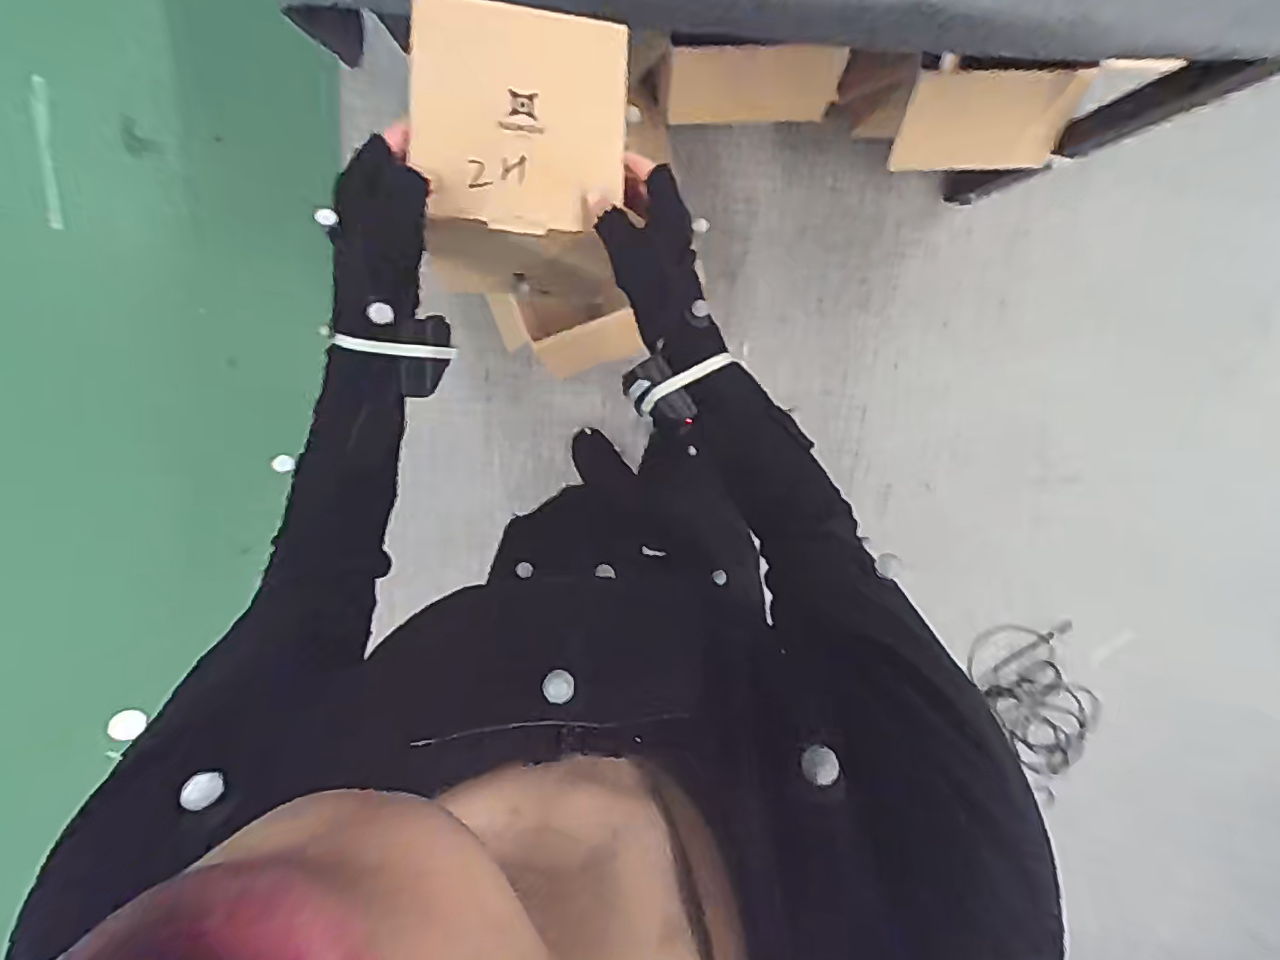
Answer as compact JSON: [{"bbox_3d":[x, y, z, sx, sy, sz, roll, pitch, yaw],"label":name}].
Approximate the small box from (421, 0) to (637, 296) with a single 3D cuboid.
[{"bbox_3d":[-0.098,-0.292,0.506,0.168,0.176,0.179,1,90,-9],"label":"small box"}]
